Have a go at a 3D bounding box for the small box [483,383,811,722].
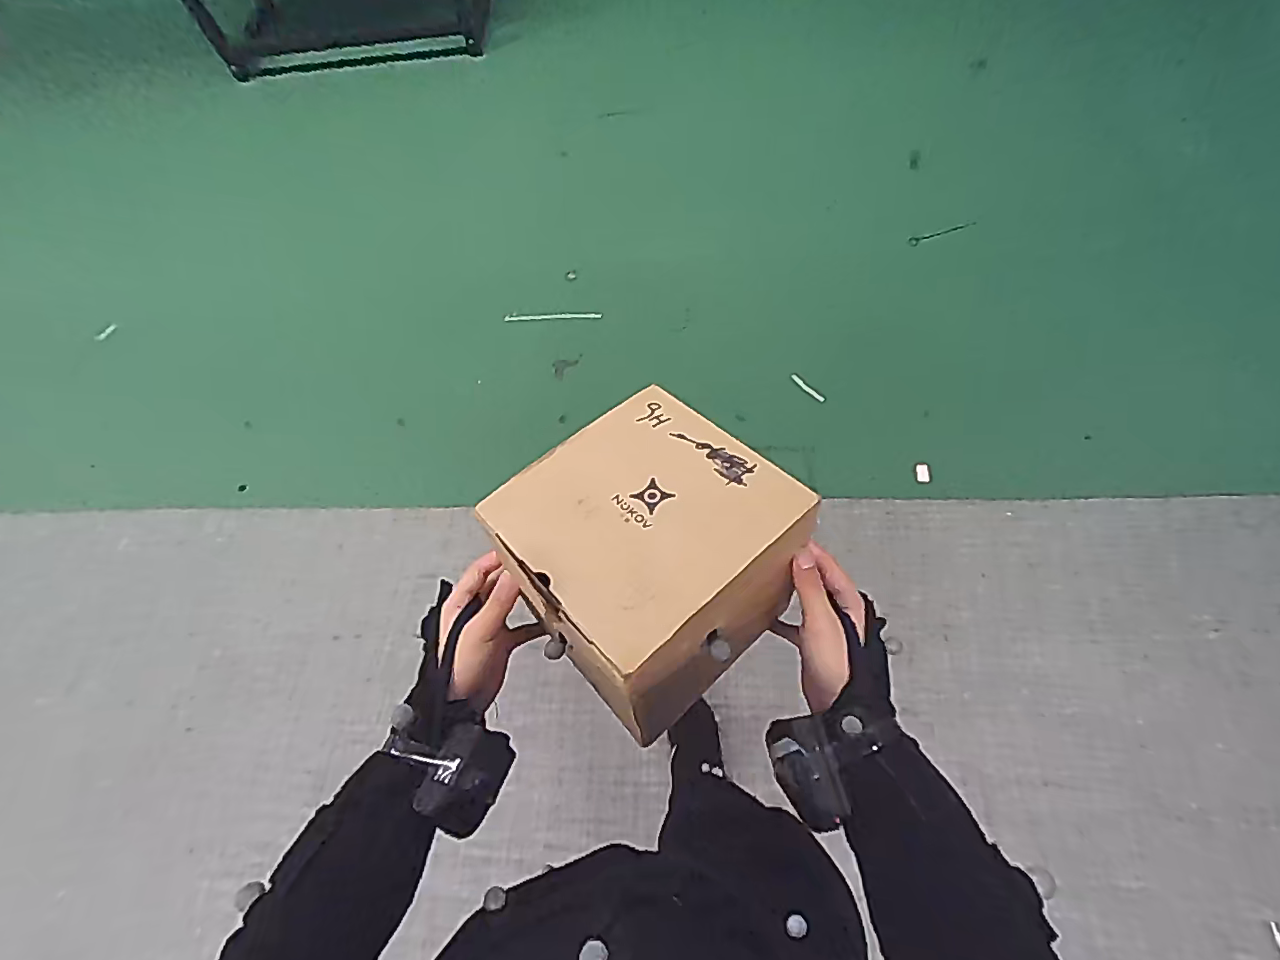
[{"bbox_3d":[0.010,0.062,0.439,0.179,0.176,0.168,-38,58,-21],"label":"small box"}]
